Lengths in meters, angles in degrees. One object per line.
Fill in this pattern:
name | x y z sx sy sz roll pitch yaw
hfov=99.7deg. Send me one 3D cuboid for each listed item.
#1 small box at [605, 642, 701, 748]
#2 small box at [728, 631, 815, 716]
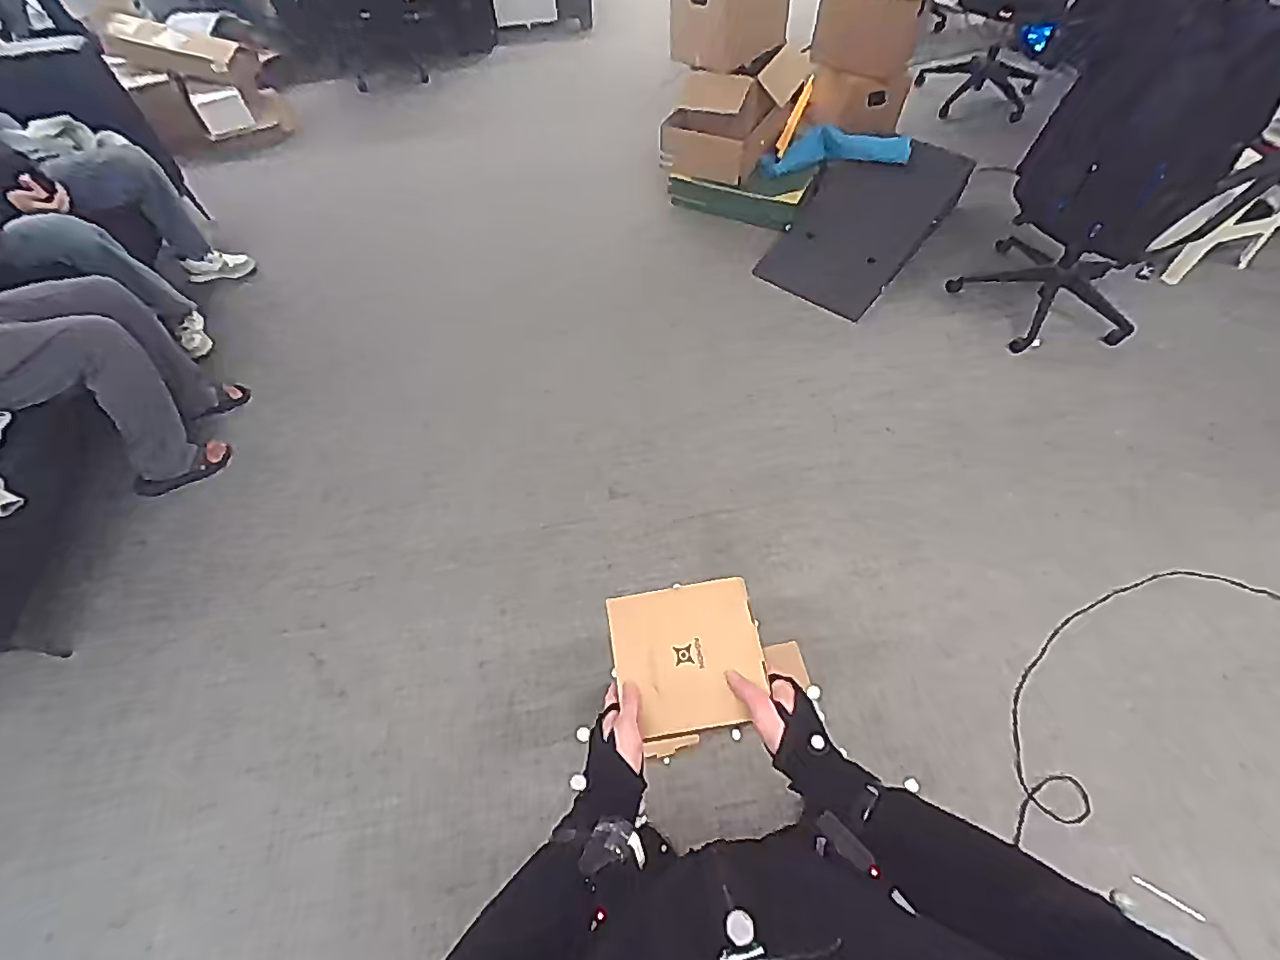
small box | 0.040 0.543 1.352 0.179 0.176 0.168 -41 64 -17
small box | 0.323 0.495 1.371 0.179 0.176 0.168 -8 62 0
